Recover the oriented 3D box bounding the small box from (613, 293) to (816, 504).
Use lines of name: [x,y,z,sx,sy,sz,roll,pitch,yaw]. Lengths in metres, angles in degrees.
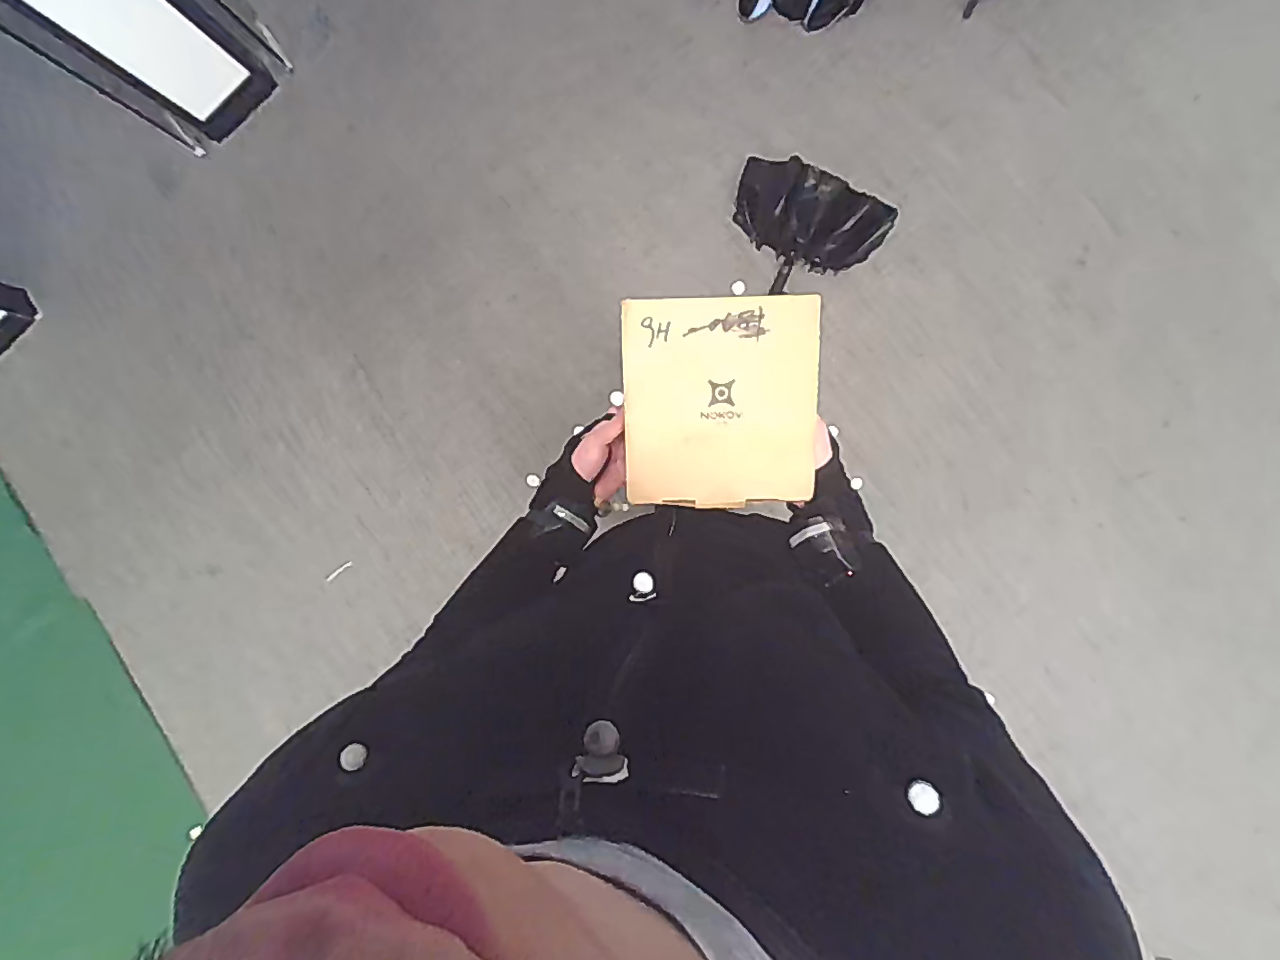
small box: [0.061,-0.082,0.531,0.168,0.176,0.179,-1,101,0]
